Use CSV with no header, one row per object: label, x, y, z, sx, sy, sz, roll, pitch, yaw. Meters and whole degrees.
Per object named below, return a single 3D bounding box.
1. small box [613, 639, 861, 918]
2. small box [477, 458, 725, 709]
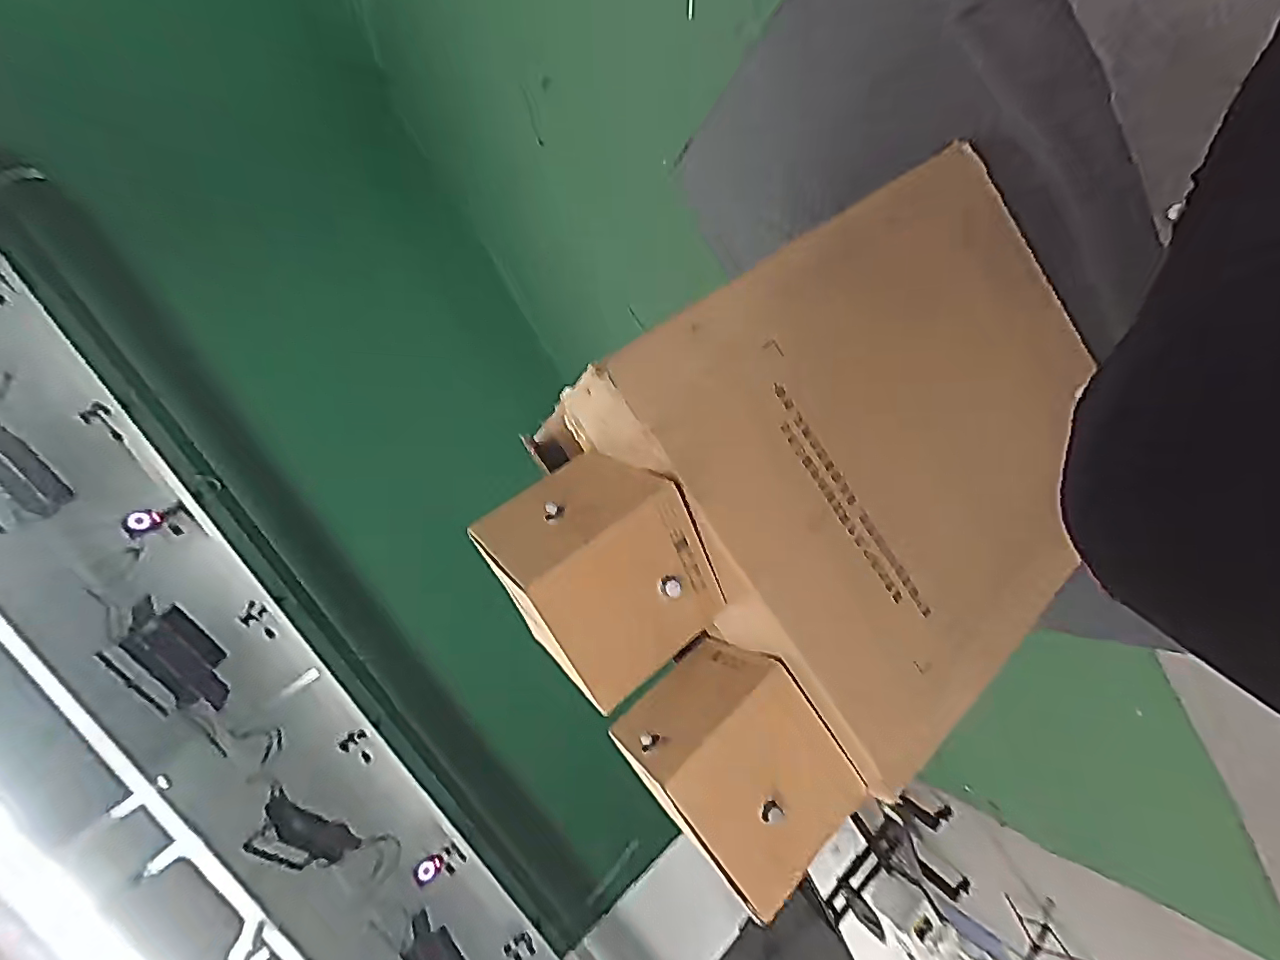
small box,0.105,0.307,0.599,0.179,0.176,0.168,54,158,-6
small box,-0.041,0.093,0.577,0.179,0.176,0.168,20,140,55
